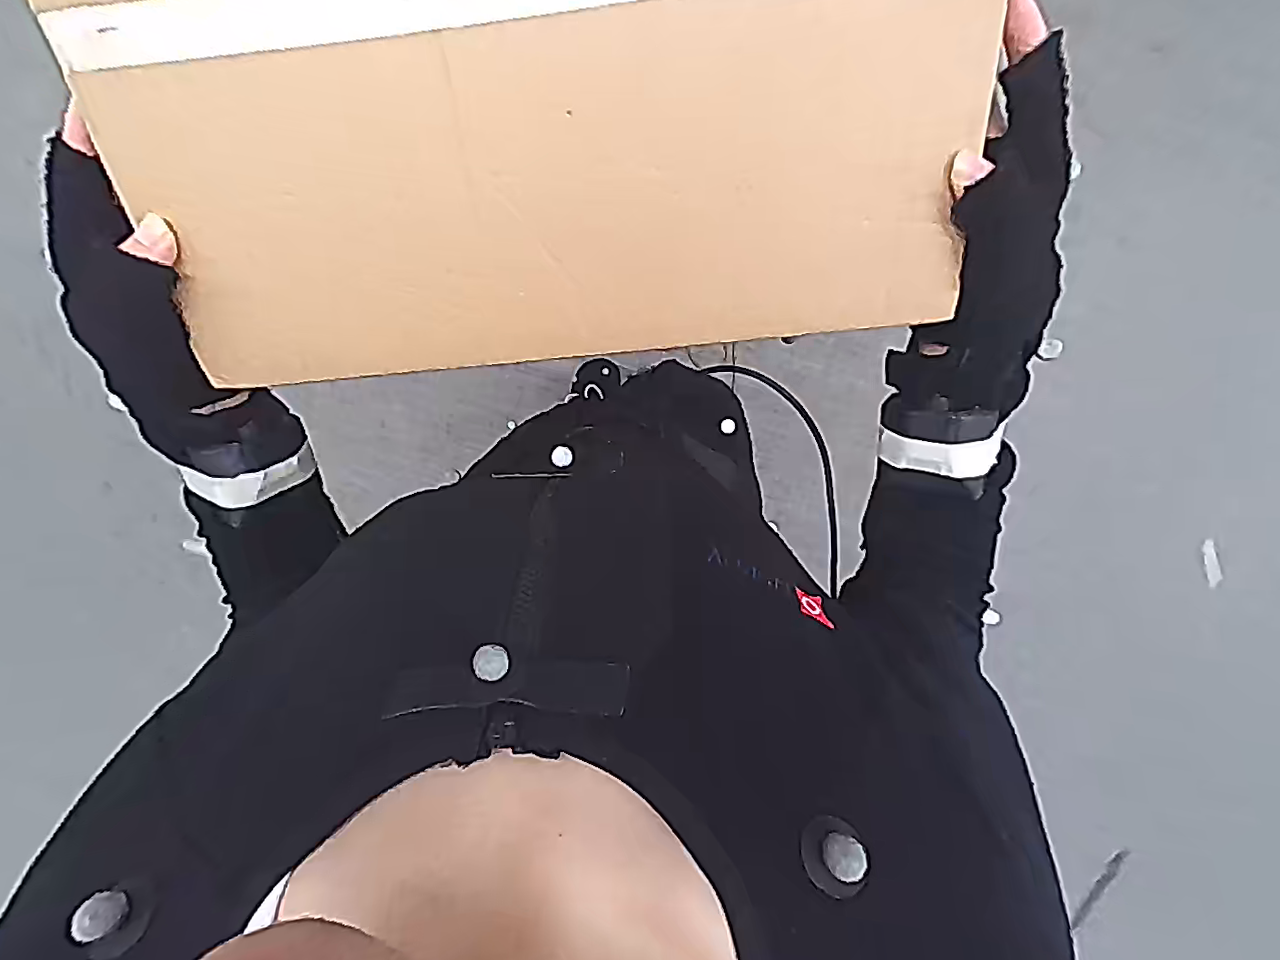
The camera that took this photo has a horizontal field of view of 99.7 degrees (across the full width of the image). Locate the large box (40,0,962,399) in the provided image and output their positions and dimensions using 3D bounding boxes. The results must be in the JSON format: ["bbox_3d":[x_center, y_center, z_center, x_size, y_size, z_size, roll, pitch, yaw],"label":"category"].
[{"bbox_3d":[-0.057,-0.274,0.368,0.408,0.320,0.320,-6,116,3],"label":"large box"}]
